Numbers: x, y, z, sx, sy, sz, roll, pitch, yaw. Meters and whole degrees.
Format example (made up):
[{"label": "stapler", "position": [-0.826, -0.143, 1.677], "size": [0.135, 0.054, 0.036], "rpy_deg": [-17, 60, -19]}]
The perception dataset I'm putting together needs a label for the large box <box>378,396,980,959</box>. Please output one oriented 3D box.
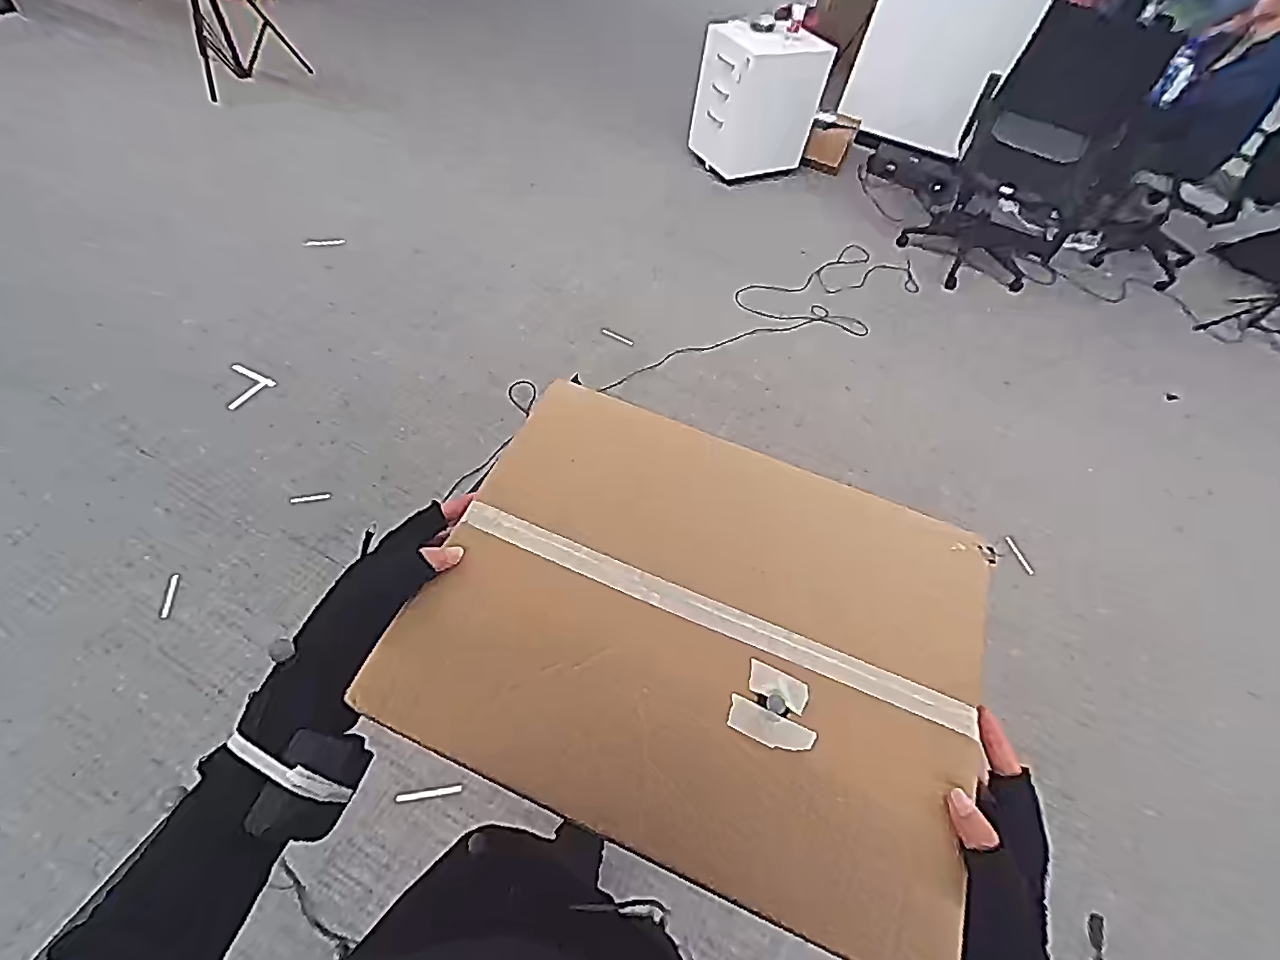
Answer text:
[{"label": "large box", "position": [0.043, 0.180, 0.549], "size": [0.408, 0.320, 0.320], "rpy_deg": [23, 61, 8]}]
